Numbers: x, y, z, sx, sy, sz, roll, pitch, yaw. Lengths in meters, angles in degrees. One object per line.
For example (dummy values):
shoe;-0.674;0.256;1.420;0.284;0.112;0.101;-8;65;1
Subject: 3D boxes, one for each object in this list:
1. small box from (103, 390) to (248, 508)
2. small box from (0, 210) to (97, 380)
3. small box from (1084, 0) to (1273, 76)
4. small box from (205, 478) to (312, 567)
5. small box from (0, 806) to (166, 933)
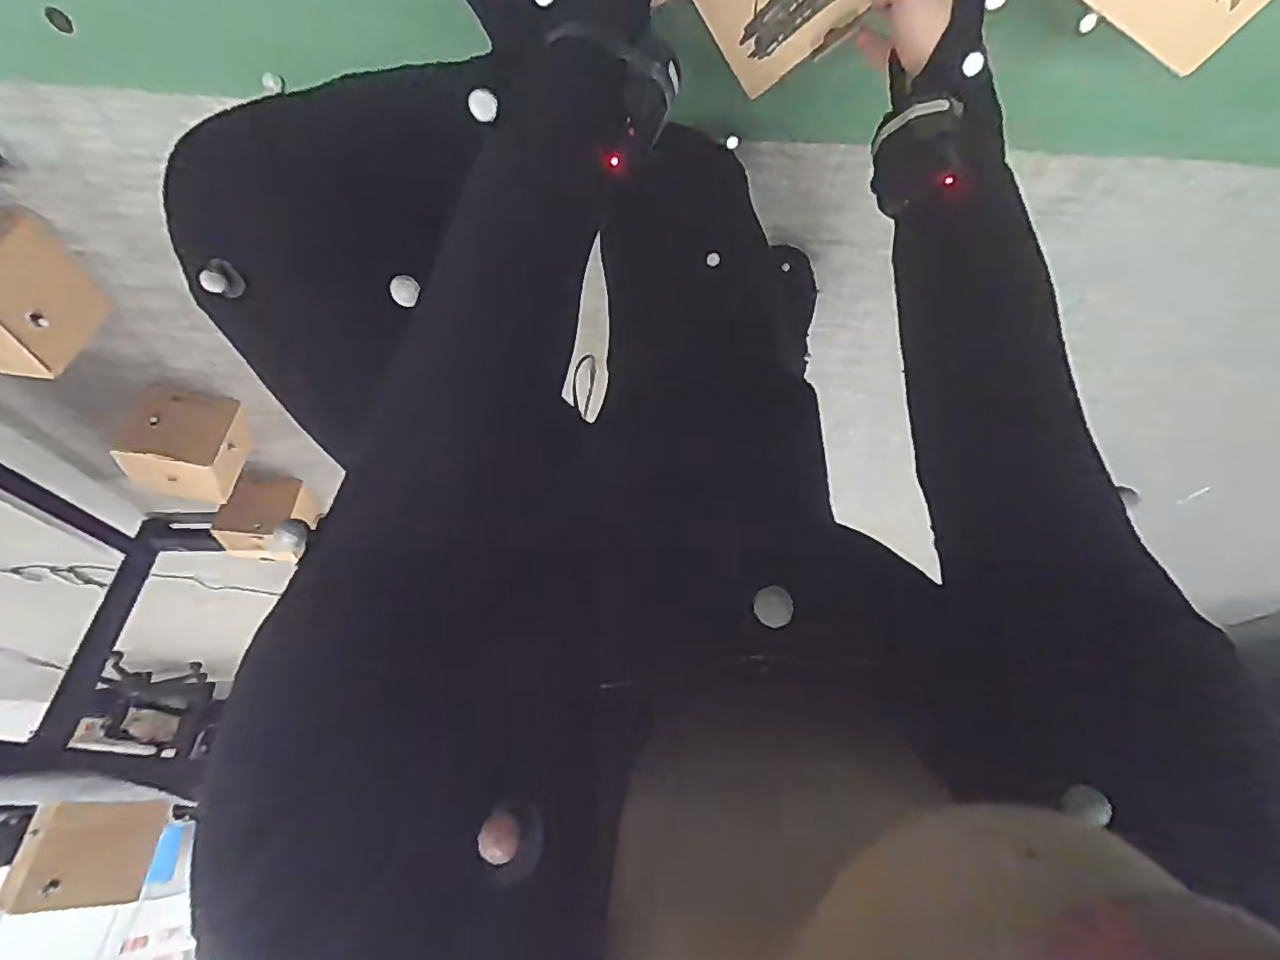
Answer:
small box;-0.957;-0.064;1.134;0.168;0.176;0.179;13;148;-21
small box;-0.966;-0.273;0.786;0.168;0.176;0.179;4;148;-9
small box;0.461;-0.500;0.454;0.179;0.176;0.168;12;147;-21
small box;-0.995;0.115;1.429;0.168;0.176;0.179;7;149;-14
small box;-1.028;0.703;0.995;0.168;0.176;0.179;-23;142;32
